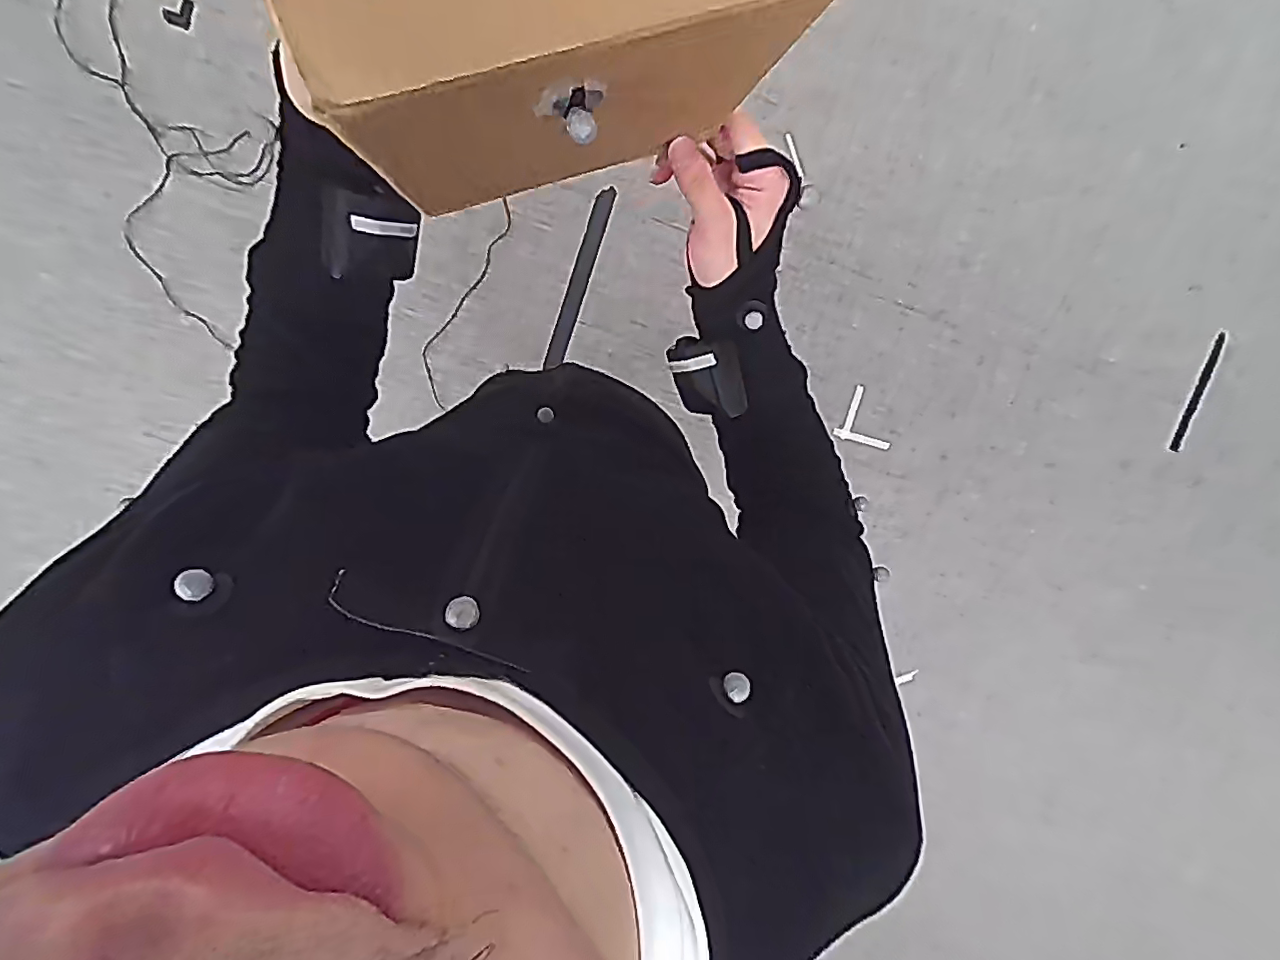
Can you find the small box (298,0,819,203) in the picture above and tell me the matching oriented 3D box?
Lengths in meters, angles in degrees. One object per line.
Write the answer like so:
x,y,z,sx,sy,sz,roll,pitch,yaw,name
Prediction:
-0.046,-0.236,0.226,0.179,0.176,0.168,-19,109,-5,small box
